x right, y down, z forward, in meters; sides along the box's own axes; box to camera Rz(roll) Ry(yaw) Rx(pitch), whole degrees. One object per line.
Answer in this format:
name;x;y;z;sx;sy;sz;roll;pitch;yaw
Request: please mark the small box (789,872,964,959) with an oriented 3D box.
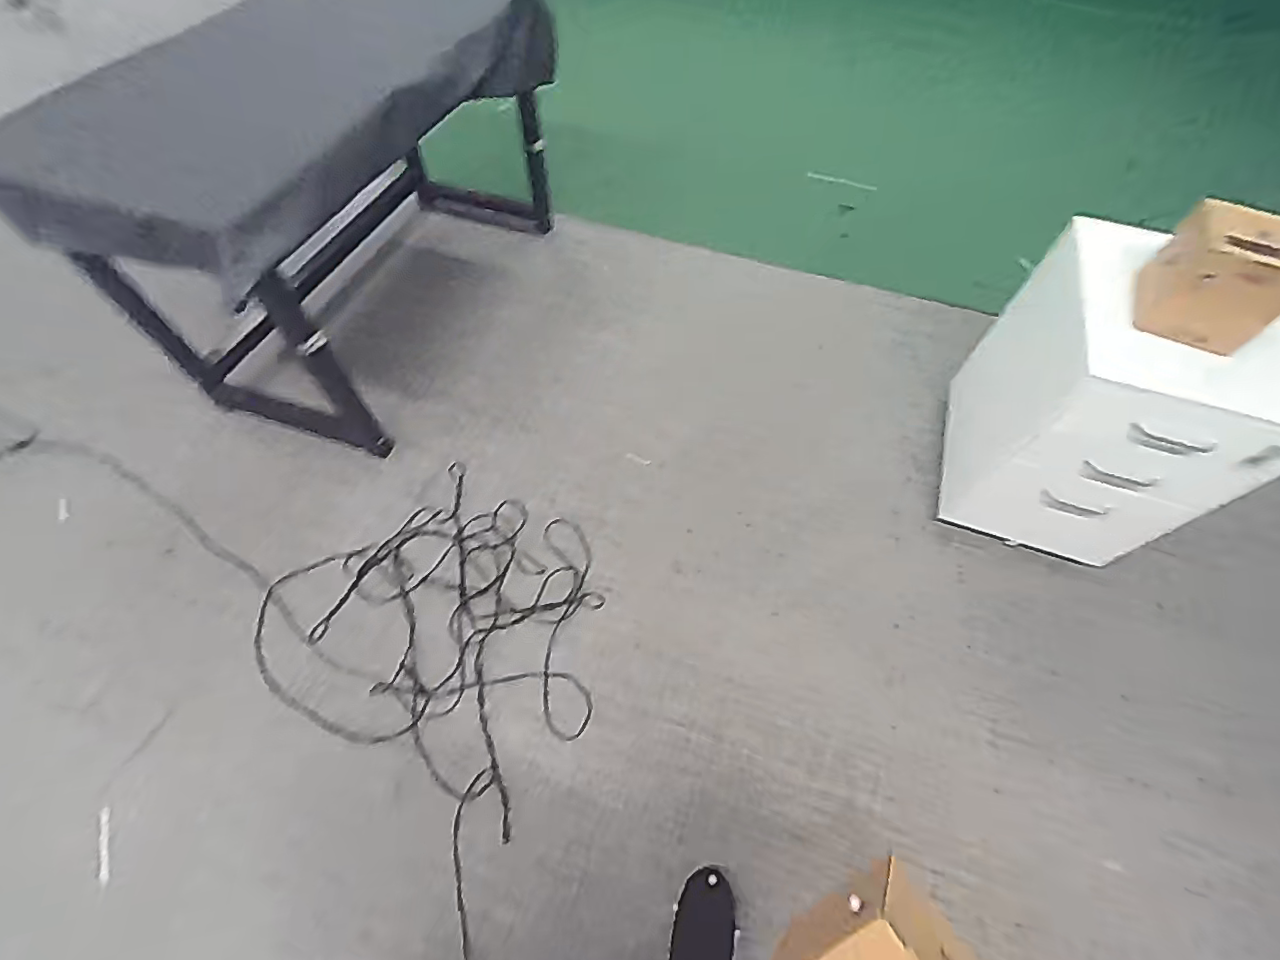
small box;0.260;0.559;0.556;0.176;0.179;0.168;-42;60;9
